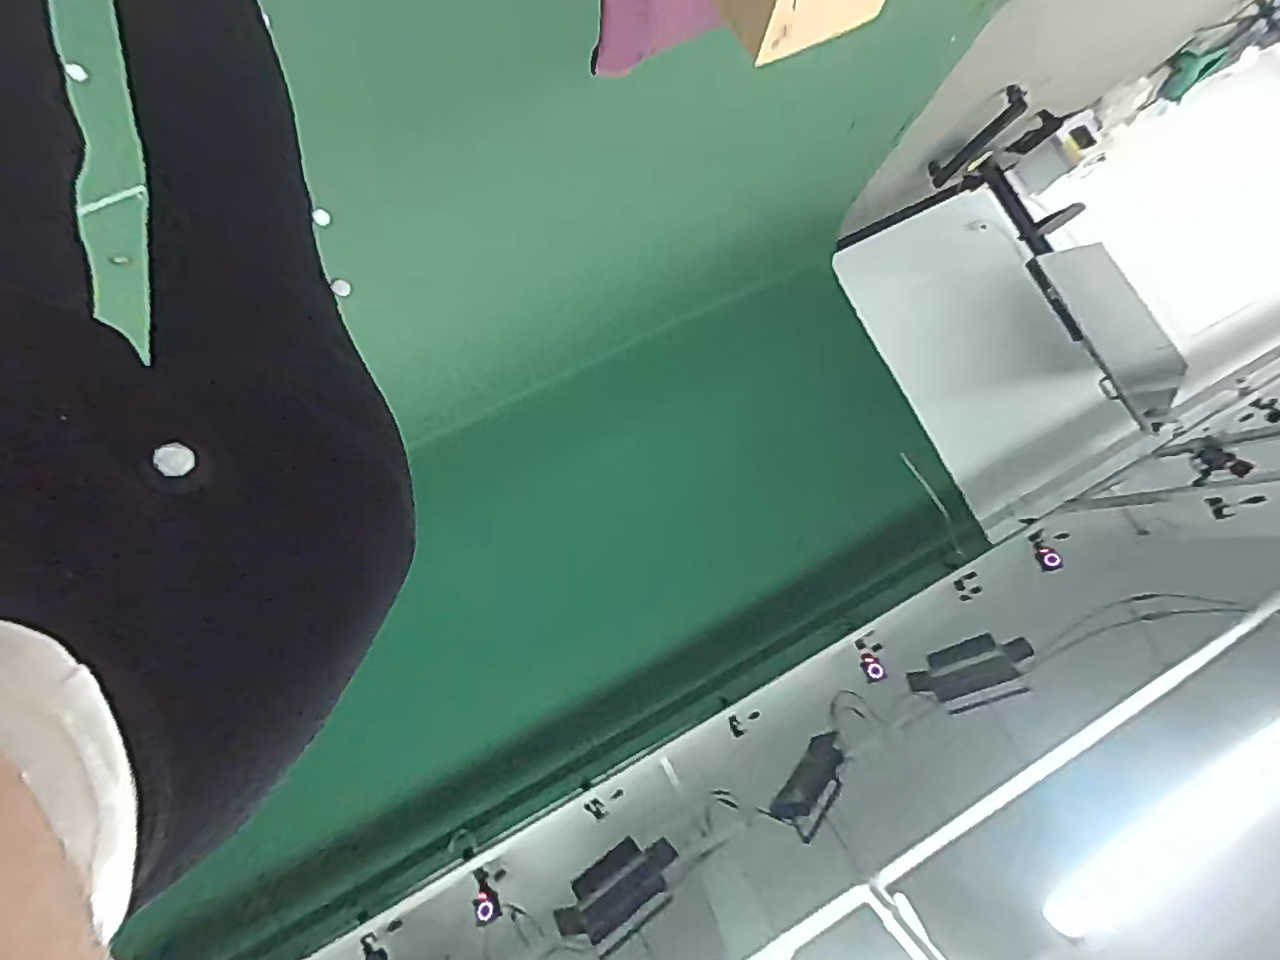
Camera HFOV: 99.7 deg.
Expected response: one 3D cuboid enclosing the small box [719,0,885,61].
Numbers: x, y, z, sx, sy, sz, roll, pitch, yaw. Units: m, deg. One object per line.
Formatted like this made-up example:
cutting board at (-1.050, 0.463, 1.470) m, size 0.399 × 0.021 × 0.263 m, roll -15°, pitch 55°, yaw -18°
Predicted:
small box at (0.170, -0.581, 0.534) m, size 0.179 × 0.176 × 0.168 m, roll -30°, pitch 174°, yaw -10°
